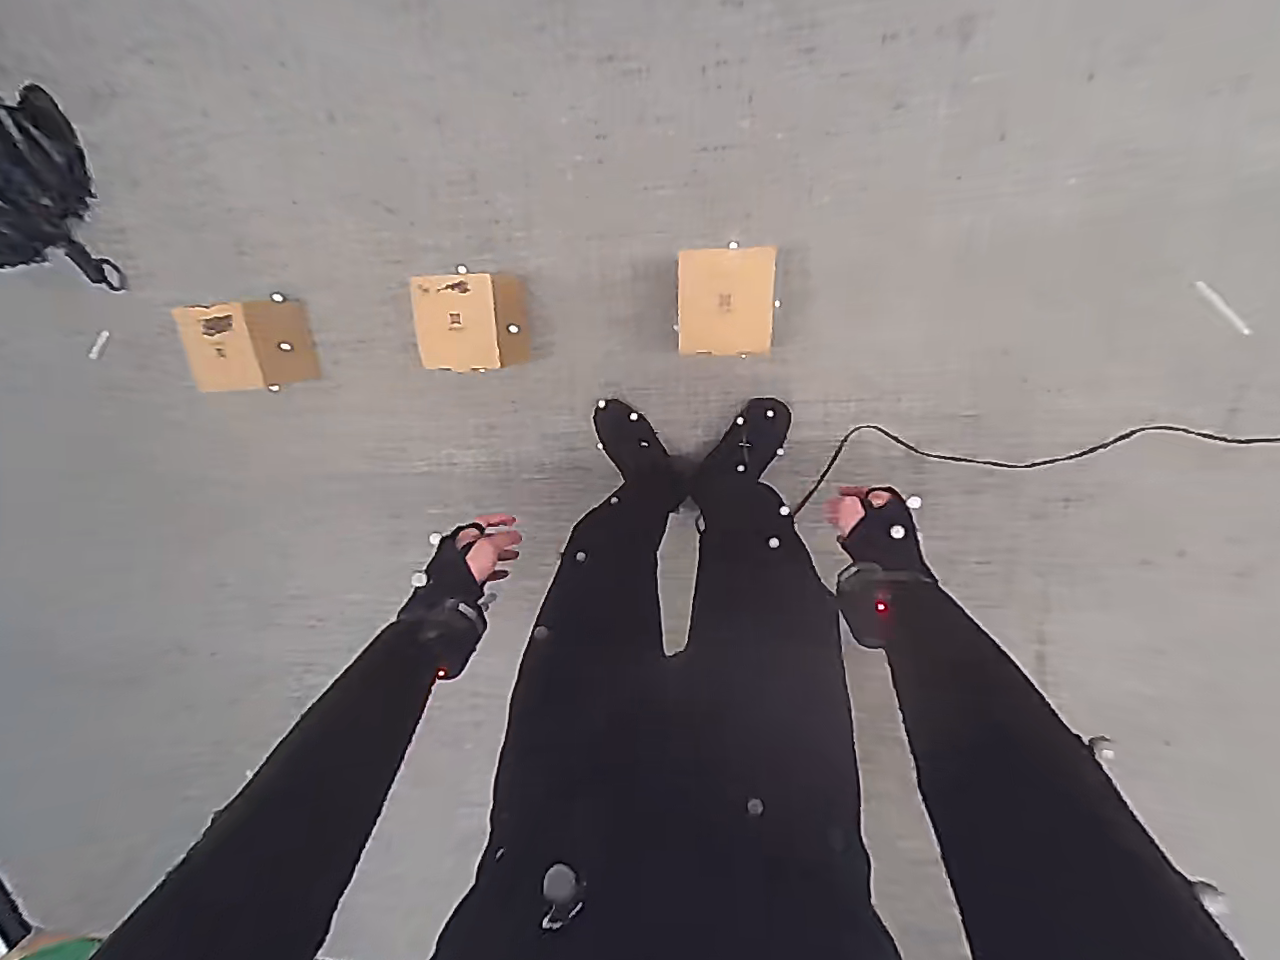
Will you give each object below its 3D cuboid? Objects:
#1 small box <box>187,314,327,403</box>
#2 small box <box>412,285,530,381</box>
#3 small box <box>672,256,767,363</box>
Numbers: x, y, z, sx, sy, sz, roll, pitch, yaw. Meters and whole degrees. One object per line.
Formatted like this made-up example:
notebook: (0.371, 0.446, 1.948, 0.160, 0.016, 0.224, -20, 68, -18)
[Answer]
small box: (-0.852, -0.279, 1.219, 0.168, 0.176, 0.179, -2, 109, 11)
small box: (-0.339, -0.308, 1.121, 0.168, 0.176, 0.179, 1, 109, 10)
small box: (0.153, -0.323, 1.029, 0.168, 0.176, 0.179, 0, 107, 10)
